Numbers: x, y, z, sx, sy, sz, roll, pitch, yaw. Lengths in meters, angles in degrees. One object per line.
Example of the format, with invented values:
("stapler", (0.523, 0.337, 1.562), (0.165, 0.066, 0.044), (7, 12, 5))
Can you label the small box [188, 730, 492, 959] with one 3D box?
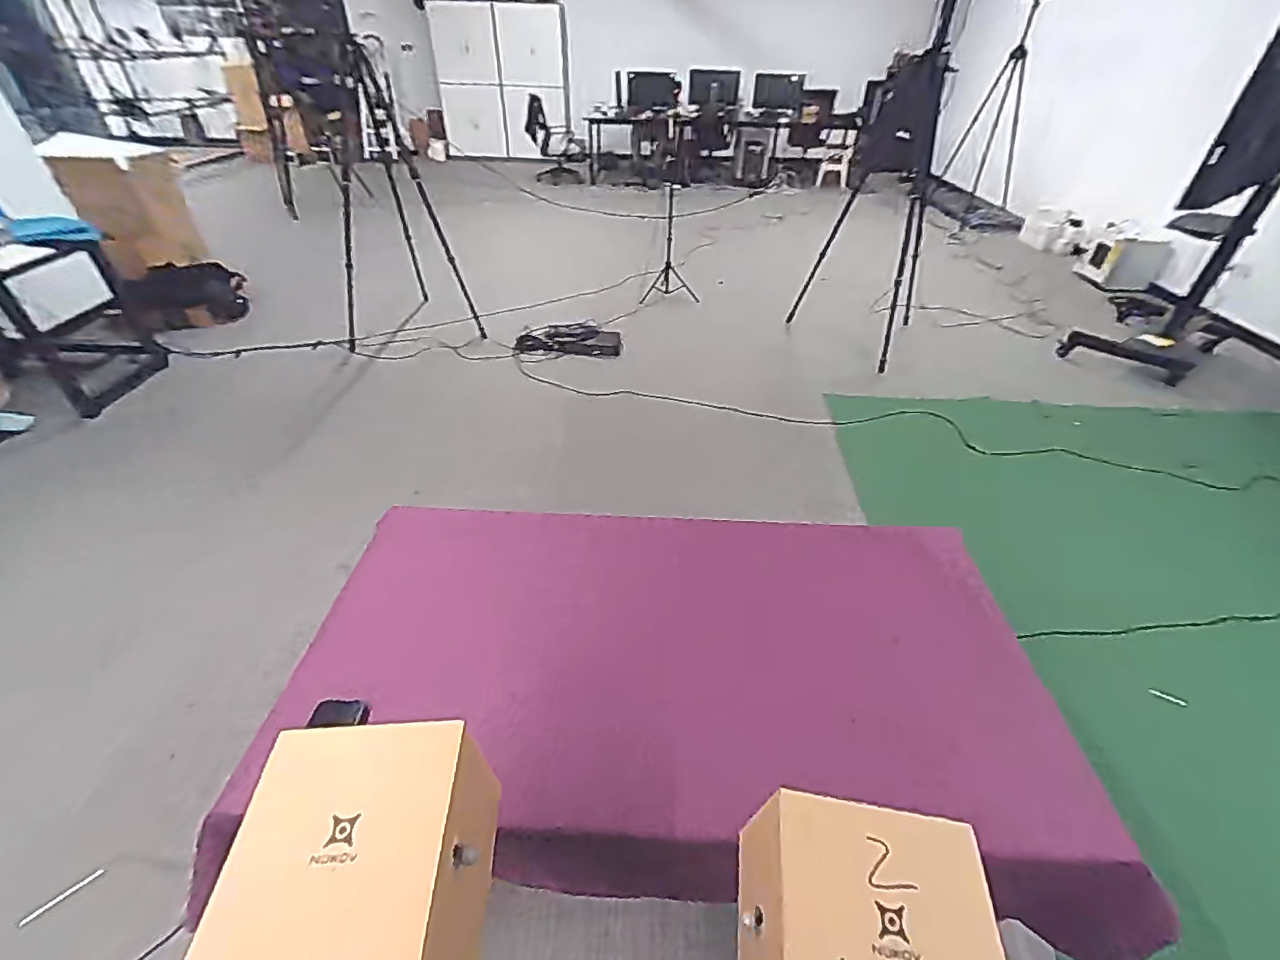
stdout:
("small box", (-0.236, 0.347, 0.481), (0.168, 0.176, 0.179), (-3, 43, -2))
